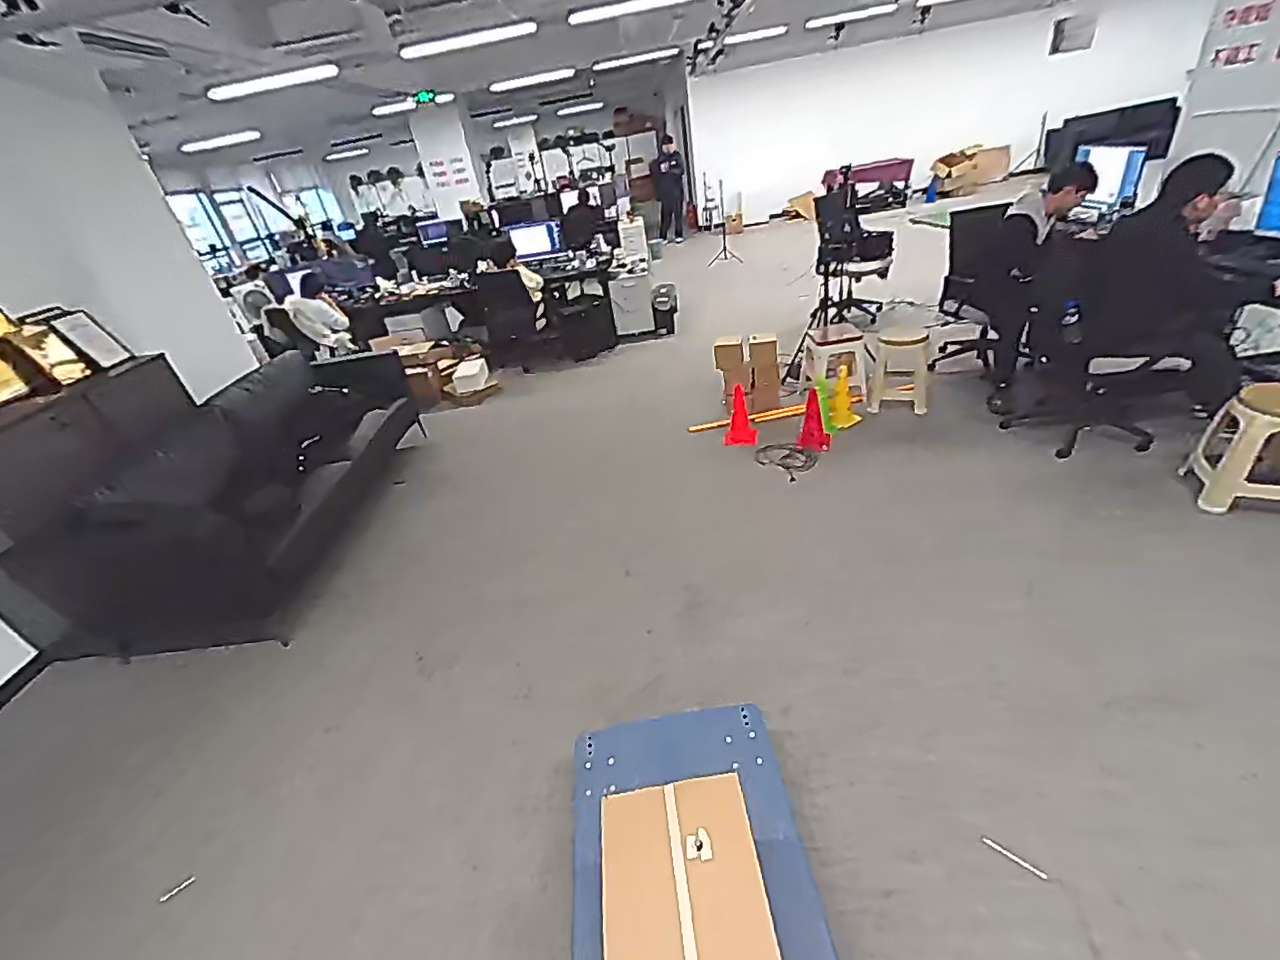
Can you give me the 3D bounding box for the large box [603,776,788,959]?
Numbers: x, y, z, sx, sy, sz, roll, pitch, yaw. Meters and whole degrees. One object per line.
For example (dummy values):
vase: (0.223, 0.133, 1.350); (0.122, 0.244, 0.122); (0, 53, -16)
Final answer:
large box: (0.115, 0.912, 1.108); (0.320, 0.320, 0.408); (-11, 30, 1)
